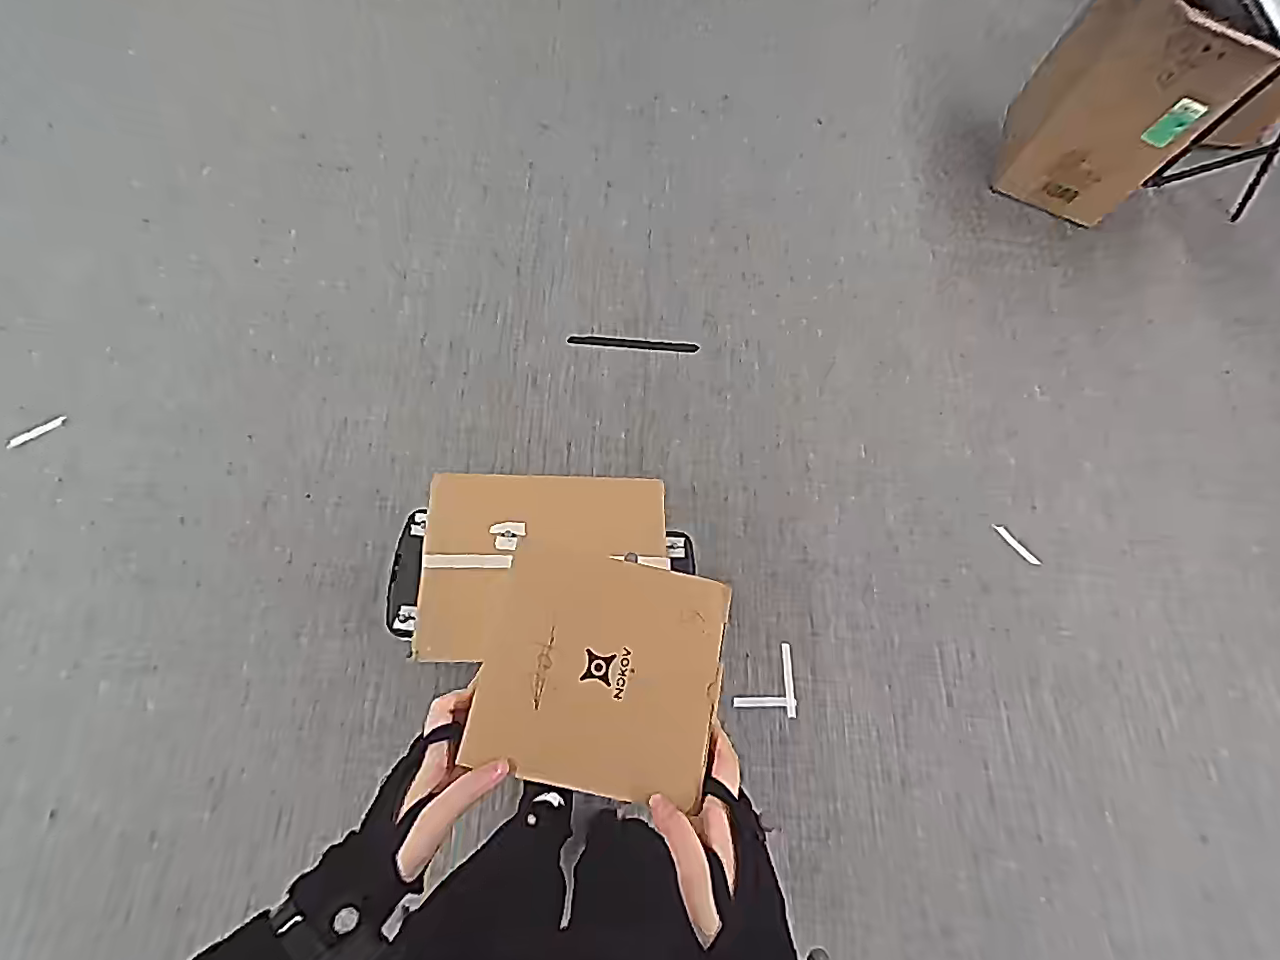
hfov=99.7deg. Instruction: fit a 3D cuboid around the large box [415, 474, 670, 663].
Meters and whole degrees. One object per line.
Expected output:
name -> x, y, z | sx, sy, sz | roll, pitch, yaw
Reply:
large box -> -0.162, 0.184, 1.034 | 0.408, 0.320, 0.320 | 2, 70, -5
